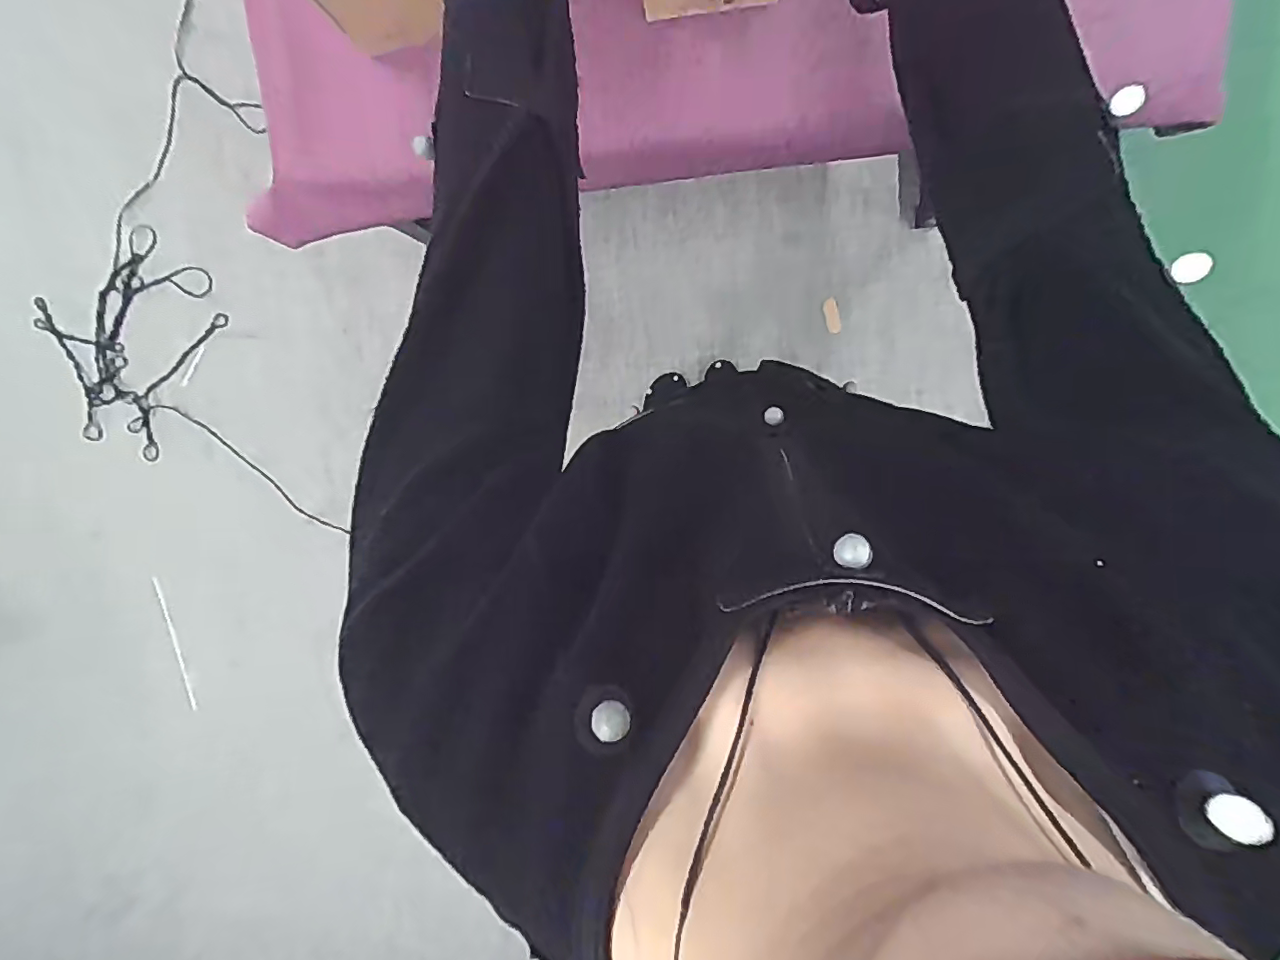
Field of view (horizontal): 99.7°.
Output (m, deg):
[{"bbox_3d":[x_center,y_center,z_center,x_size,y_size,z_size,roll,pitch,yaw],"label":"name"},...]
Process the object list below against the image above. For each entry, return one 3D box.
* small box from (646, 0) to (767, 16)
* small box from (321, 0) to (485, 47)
[{"bbox_3d":[0.075,-0.656,0.578,0.168,0.176,0.179,-3,100,6],"label":"small box"},{"bbox_3d":[-0.301,-0.640,0.614,0.179,0.176,0.168,-9,100,6],"label":"small box"}]
